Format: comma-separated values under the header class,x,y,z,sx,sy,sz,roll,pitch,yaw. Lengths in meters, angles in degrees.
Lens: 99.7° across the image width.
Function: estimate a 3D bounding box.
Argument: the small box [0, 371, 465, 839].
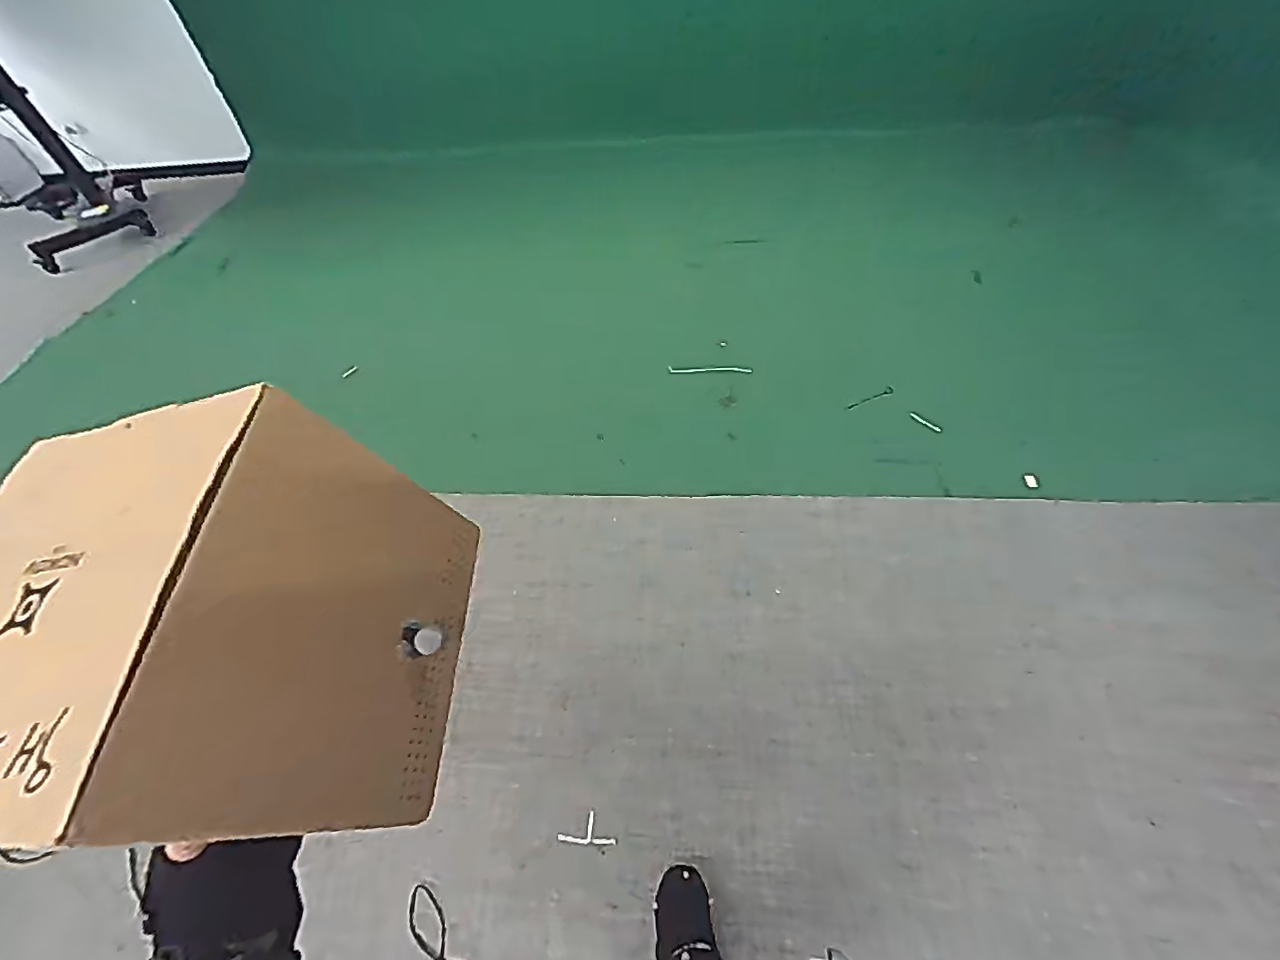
class,x,y,z,sx,sy,sz,roll,pitch,yaw
small box,-0.216,0.075,0.283,0.168,0.176,0.179,-10,59,17
